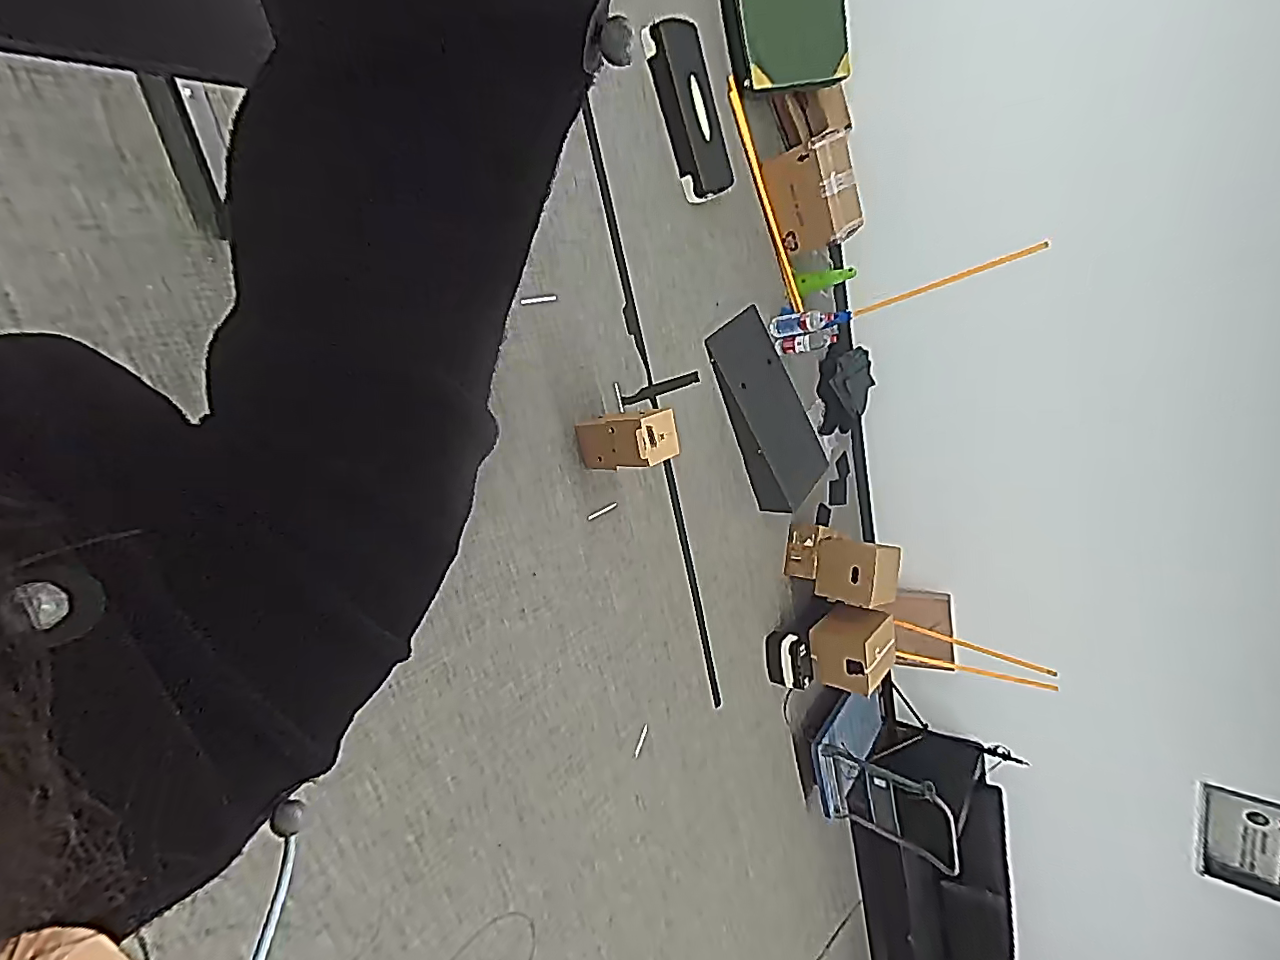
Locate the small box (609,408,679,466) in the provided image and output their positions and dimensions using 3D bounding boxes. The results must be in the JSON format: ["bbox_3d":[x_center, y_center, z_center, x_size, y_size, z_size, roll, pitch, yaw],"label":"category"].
[{"bbox_3d":[0.008,-0.147,1.870,0.179,0.176,0.168,-26,111,-44],"label":"small box"}]

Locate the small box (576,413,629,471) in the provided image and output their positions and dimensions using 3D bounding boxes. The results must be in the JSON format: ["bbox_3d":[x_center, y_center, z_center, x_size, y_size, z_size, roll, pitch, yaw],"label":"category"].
[{"bbox_3d":[-0.107,-0.144,1.987,0.168,0.176,0.179,-29,112,-42],"label":"small box"}]
